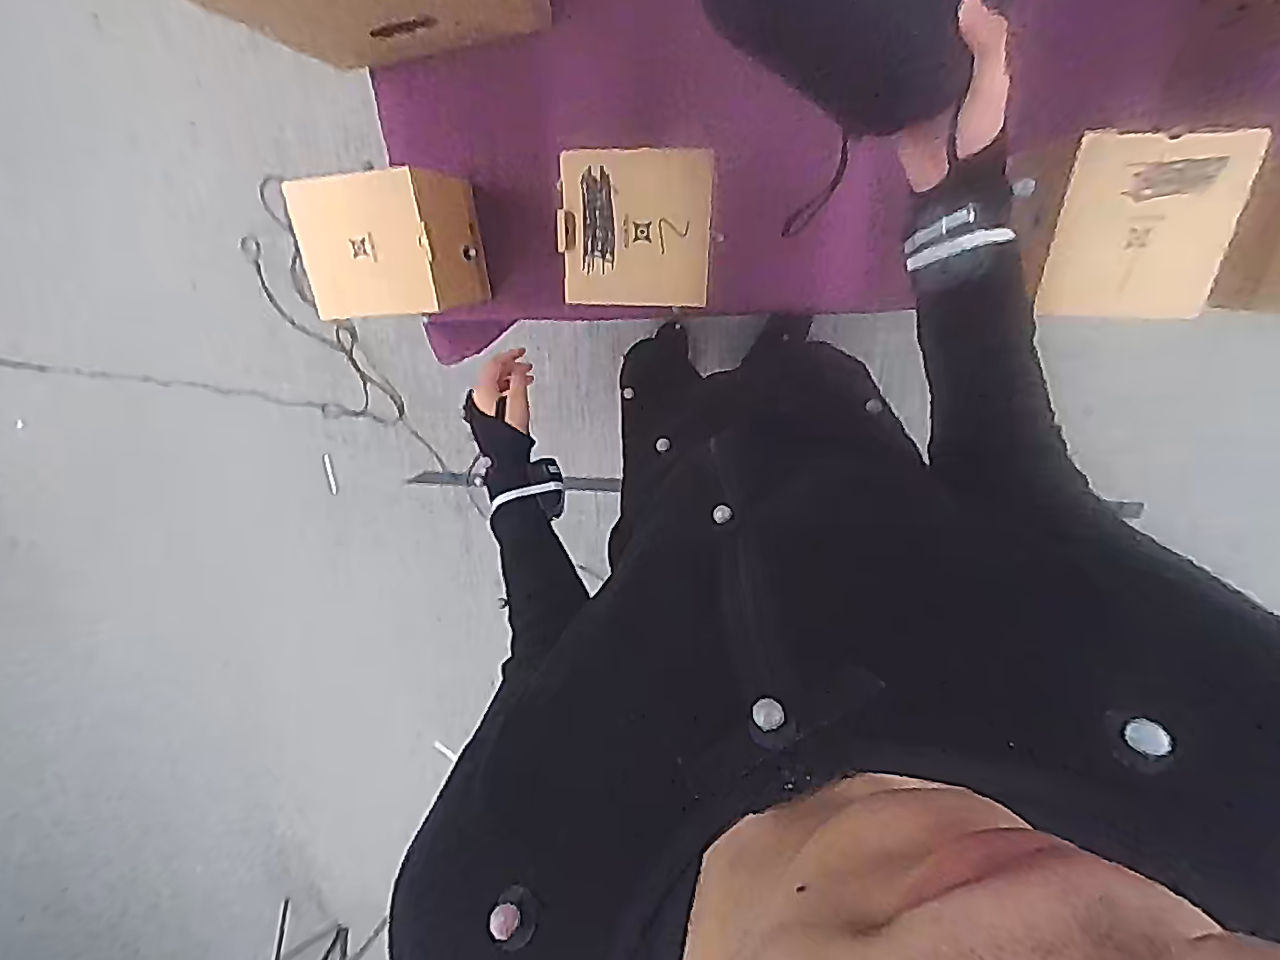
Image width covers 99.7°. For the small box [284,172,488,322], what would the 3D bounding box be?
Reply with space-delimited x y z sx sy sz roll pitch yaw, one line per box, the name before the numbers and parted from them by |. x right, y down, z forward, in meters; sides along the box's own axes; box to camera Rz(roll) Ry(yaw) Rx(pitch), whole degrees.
small box | -0.336 -0.315 0.752 0.179 0.176 0.168 -2 111 9

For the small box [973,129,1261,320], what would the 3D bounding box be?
small box | 0.519 -0.286 0.626 0.168 0.176 0.179 4 113 8
